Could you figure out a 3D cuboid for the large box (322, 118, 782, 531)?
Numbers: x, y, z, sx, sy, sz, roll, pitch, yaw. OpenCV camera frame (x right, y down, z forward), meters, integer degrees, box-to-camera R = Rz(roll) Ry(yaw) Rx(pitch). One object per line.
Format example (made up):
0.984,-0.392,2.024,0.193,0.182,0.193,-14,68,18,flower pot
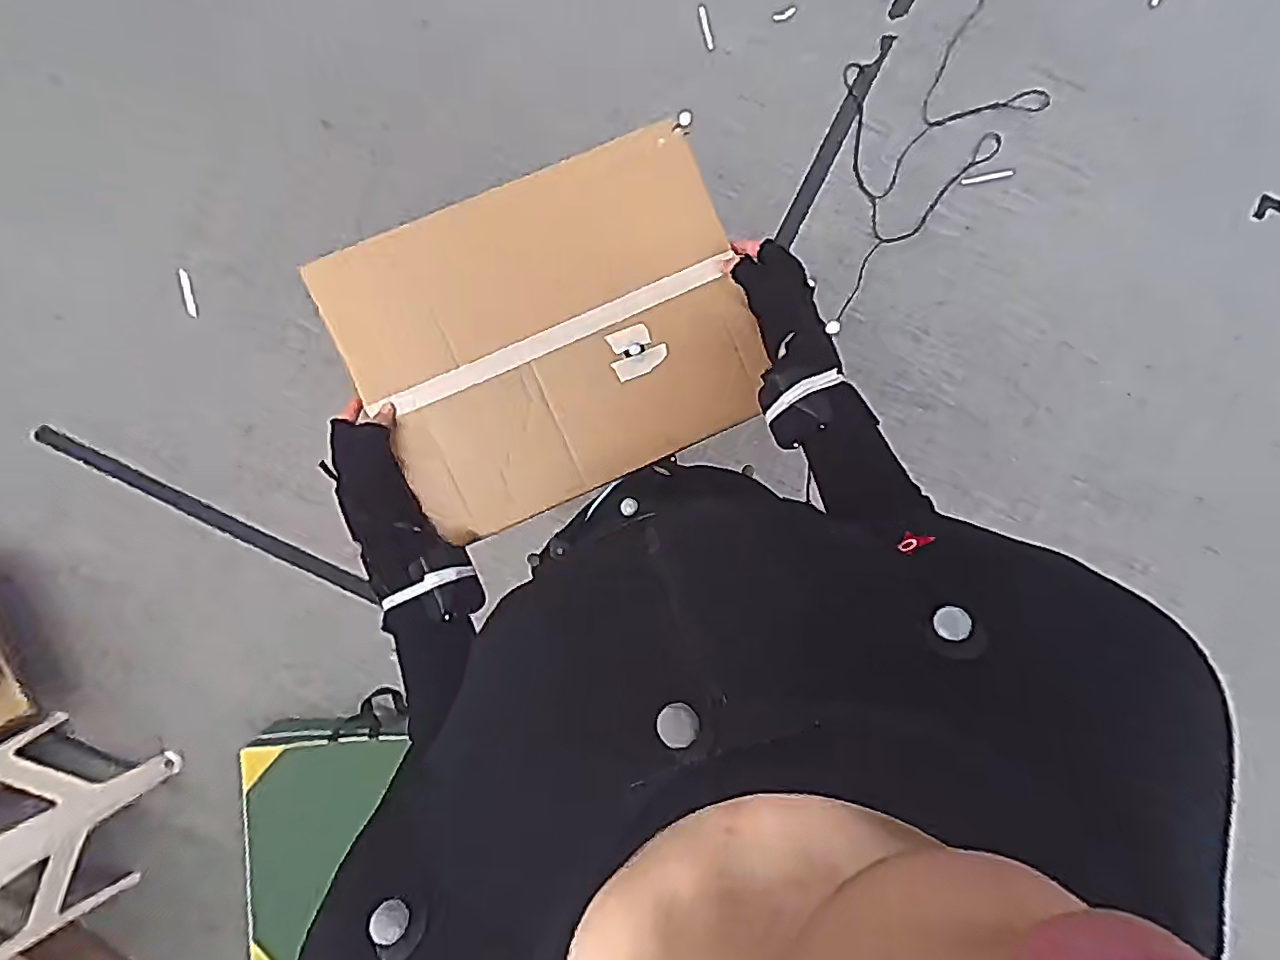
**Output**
-0.097,-0.170,0.712,0.408,0.320,0.320,-23,97,-4,large box
